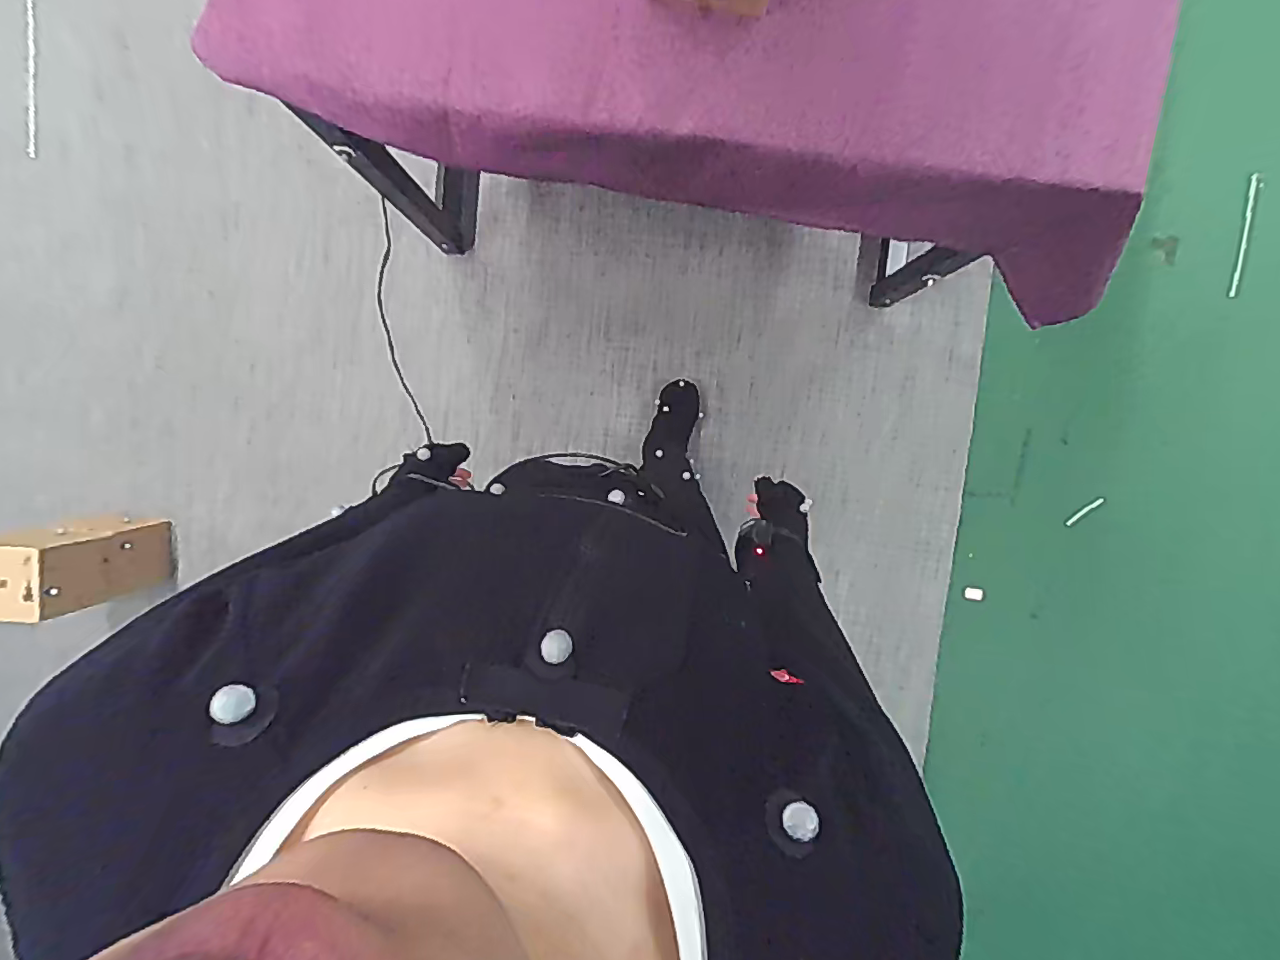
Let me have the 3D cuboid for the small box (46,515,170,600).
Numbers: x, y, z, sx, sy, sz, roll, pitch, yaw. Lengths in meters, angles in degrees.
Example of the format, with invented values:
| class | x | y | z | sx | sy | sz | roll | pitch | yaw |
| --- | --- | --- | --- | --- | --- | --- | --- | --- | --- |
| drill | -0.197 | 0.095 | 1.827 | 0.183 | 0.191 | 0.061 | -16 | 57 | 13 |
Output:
| class | x | y | z | sx | sy | sz | roll | pitch | yaw |
| --- | --- | --- | --- | --- | --- | --- | --- | --- | --- |
| small box | -1.366 | 0.195 | 1.397 | 0.168 | 0.176 | 0.179 | 5 | 94 | -1 |

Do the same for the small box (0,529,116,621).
| class | x | y | z | sx | sy | sz | roll | pitch | yaw |
| --- | --- | --- | --- | --- | --- | --- | --- | --- | --- |
| small box | -1.364 | 0.209 | 1.233 | 0.179 | 0.176 | 0.168 | 5 | 95 | 0 |

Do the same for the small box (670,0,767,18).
| class | x | y | z | sx | sy | sz | roll | pitch | yaw |
| --- | --- | --- | --- | --- | --- | --- | --- | --- | --- |
| small box | 0.094 | -0.686 | 0.608 | 0.168 | 0.176 | 0.179 | 10 | 95 | 0 |
